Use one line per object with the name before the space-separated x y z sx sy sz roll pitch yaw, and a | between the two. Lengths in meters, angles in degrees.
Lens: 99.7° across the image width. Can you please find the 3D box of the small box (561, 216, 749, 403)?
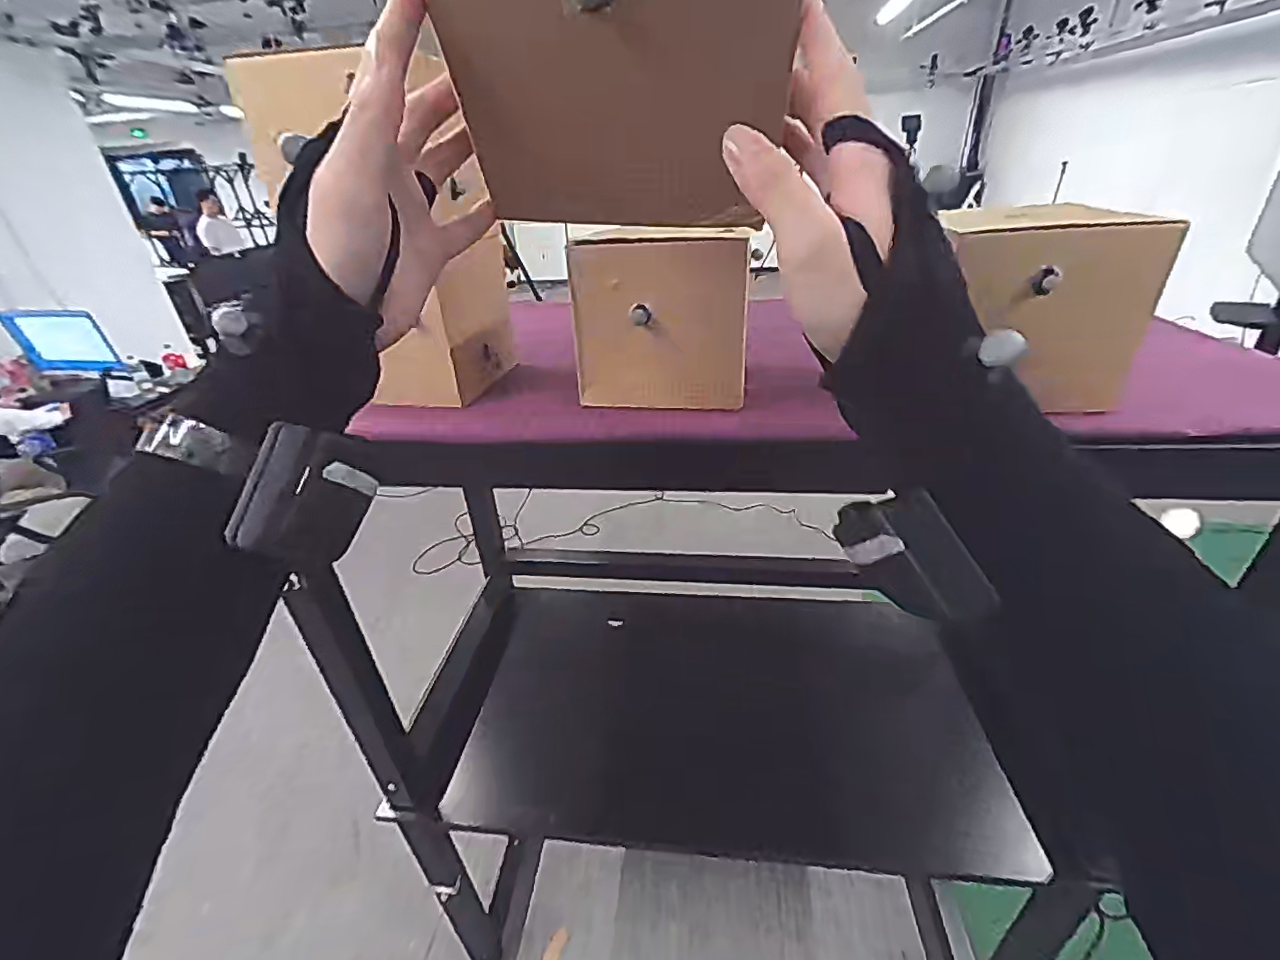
small box | 0.030 -0.190 0.600 0.179 0.176 0.168 2 29 11

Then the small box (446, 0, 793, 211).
small box | -0.003 -0.278 0.307 0.179 0.176 0.168 5 64 8

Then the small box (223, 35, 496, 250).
small box | -0.278 -0.344 0.579 0.179 0.176 0.168 4 30 11

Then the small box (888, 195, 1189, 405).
small box | 0.361 -0.180 0.539 0.179 0.176 0.168 0 31 8
